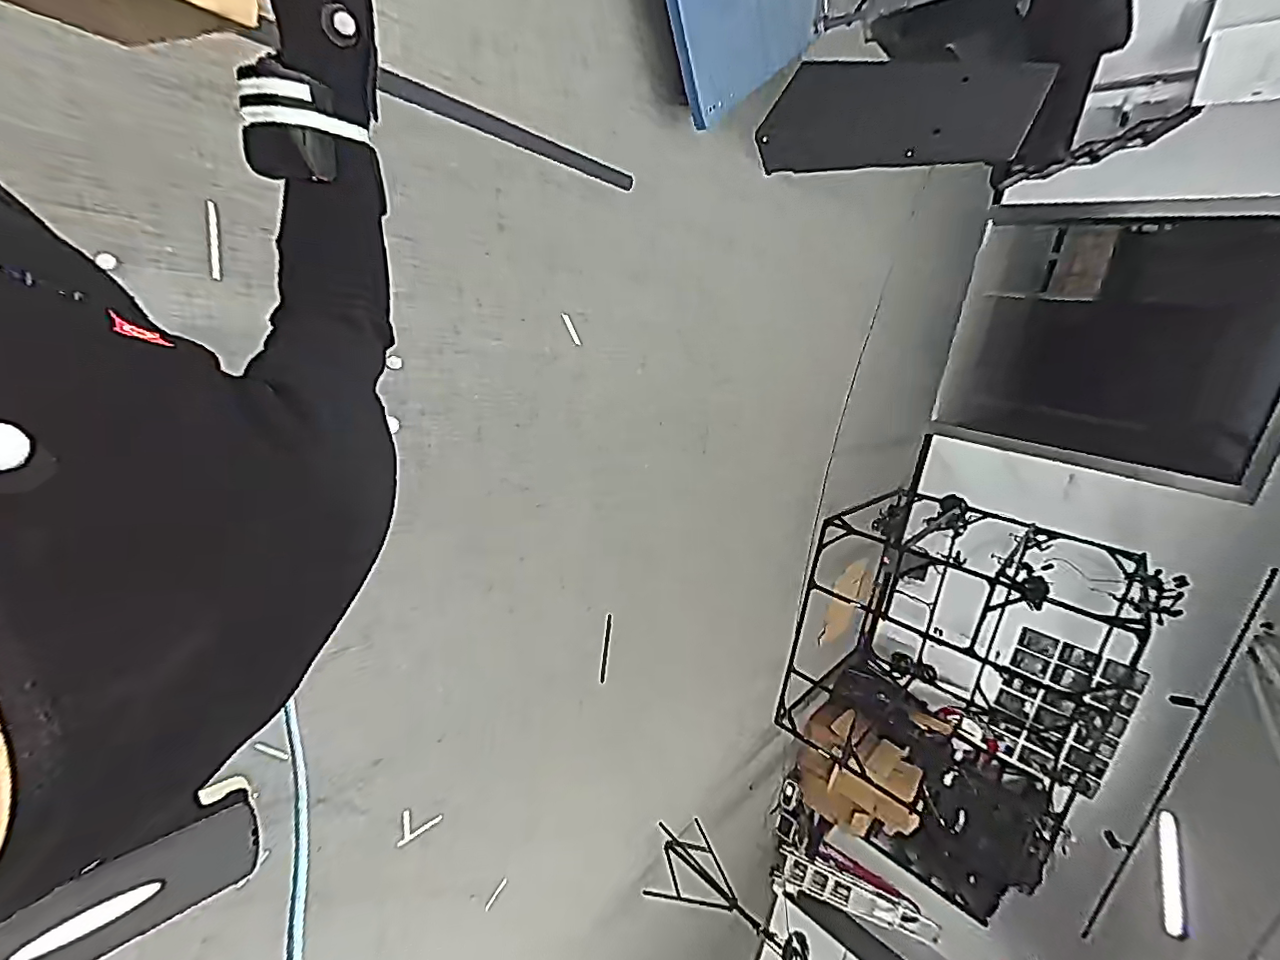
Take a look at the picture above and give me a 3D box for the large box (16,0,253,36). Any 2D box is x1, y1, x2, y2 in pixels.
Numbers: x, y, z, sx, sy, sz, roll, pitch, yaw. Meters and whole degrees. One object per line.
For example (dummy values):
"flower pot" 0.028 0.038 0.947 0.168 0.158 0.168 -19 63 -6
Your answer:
"large box" -0.464 -0.471 0.233 0.408 0.320 0.320 -15 125 -52
